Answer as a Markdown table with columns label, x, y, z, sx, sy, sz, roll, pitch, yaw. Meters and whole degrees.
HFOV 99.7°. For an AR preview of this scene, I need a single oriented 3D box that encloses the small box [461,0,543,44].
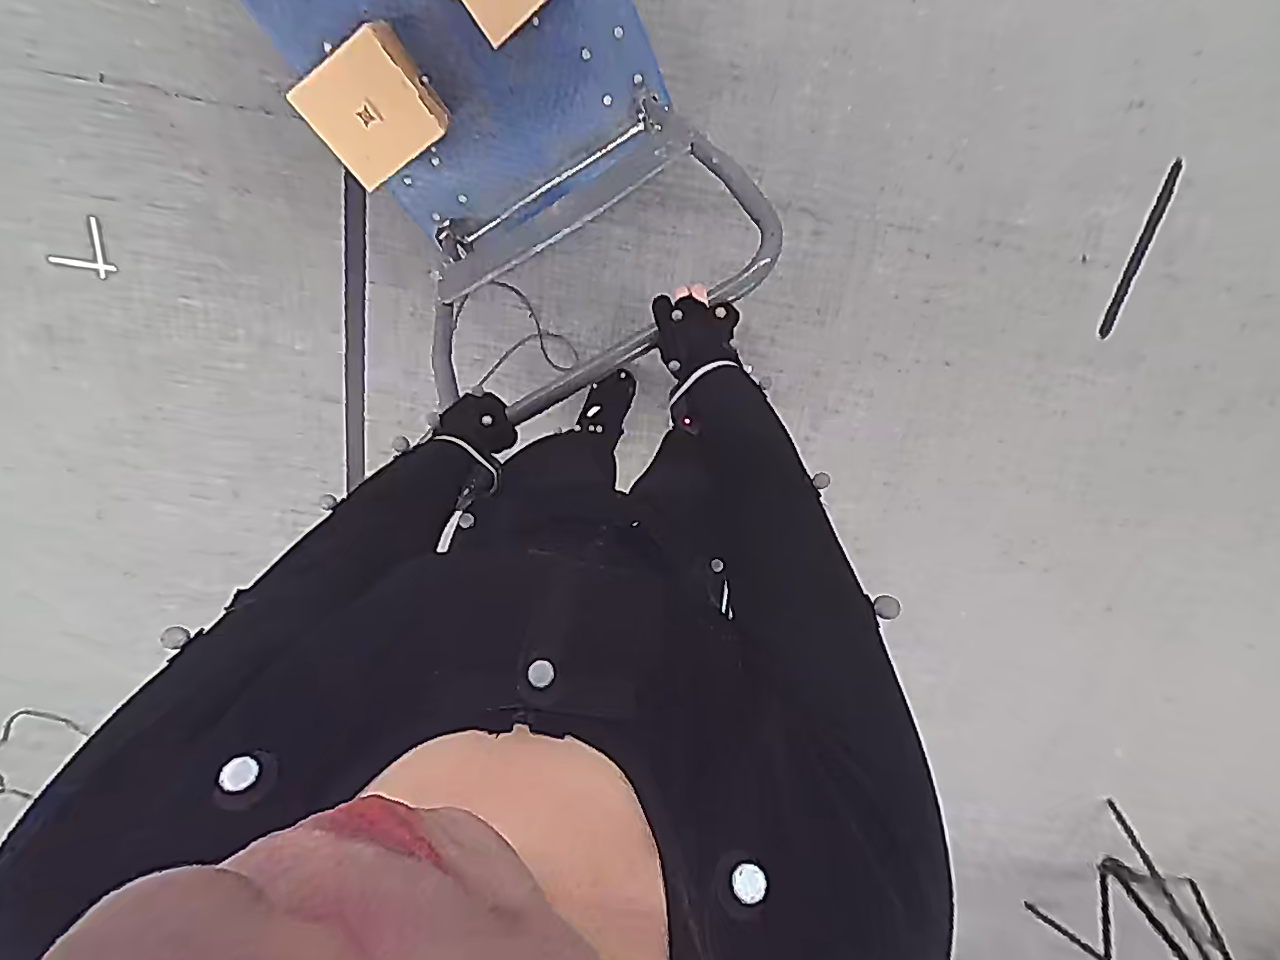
| label | x | y | z | sx | sy | sz | roll | pitch | yaw |
| --- | --- | --- | --- | --- | --- | --- | --- | --- | --- |
| small box | -0.217 | -0.824 | 0.837 | 0.179 | 0.176 | 0.168 | -32 | 131 | 15 |

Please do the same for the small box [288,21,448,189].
| label | x | y | z | sx | sy | sz | roll | pitch | yaw |
| --- | --- | --- | --- | --- | --- | --- | --- | --- | --- |
| small box | -0.454 | -0.647 | 0.937 | 0.179 | 0.176 | 0.168 | -31 | 131 | 12 |
